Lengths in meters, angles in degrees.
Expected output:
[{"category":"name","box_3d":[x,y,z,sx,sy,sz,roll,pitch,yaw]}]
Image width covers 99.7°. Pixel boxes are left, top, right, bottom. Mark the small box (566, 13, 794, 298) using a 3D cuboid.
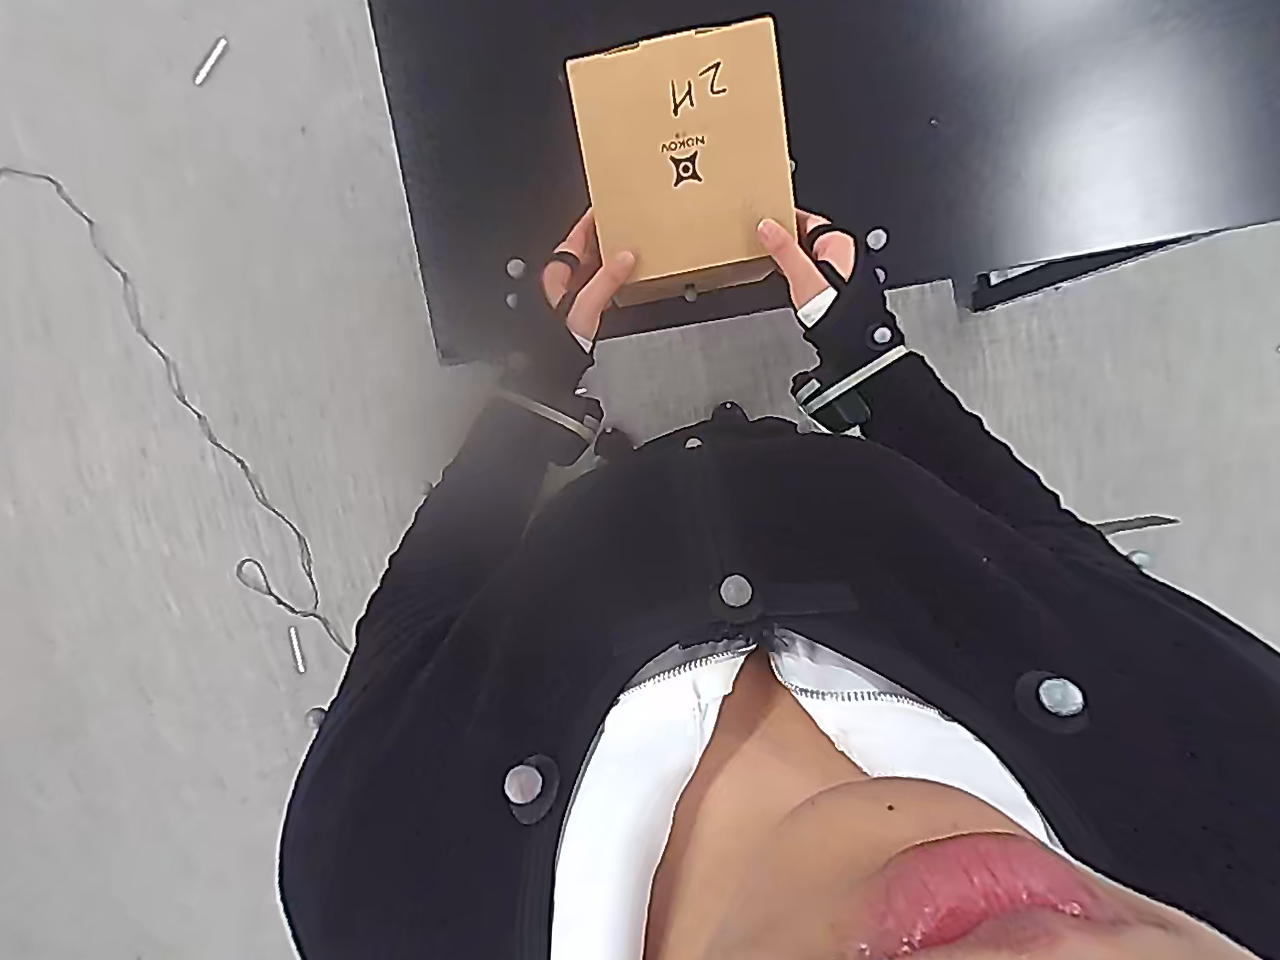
[{"category":"small box","box_3d":[0.039,-0.280,0.516,0.168,0.176,0.179,-10,101,4]}]
